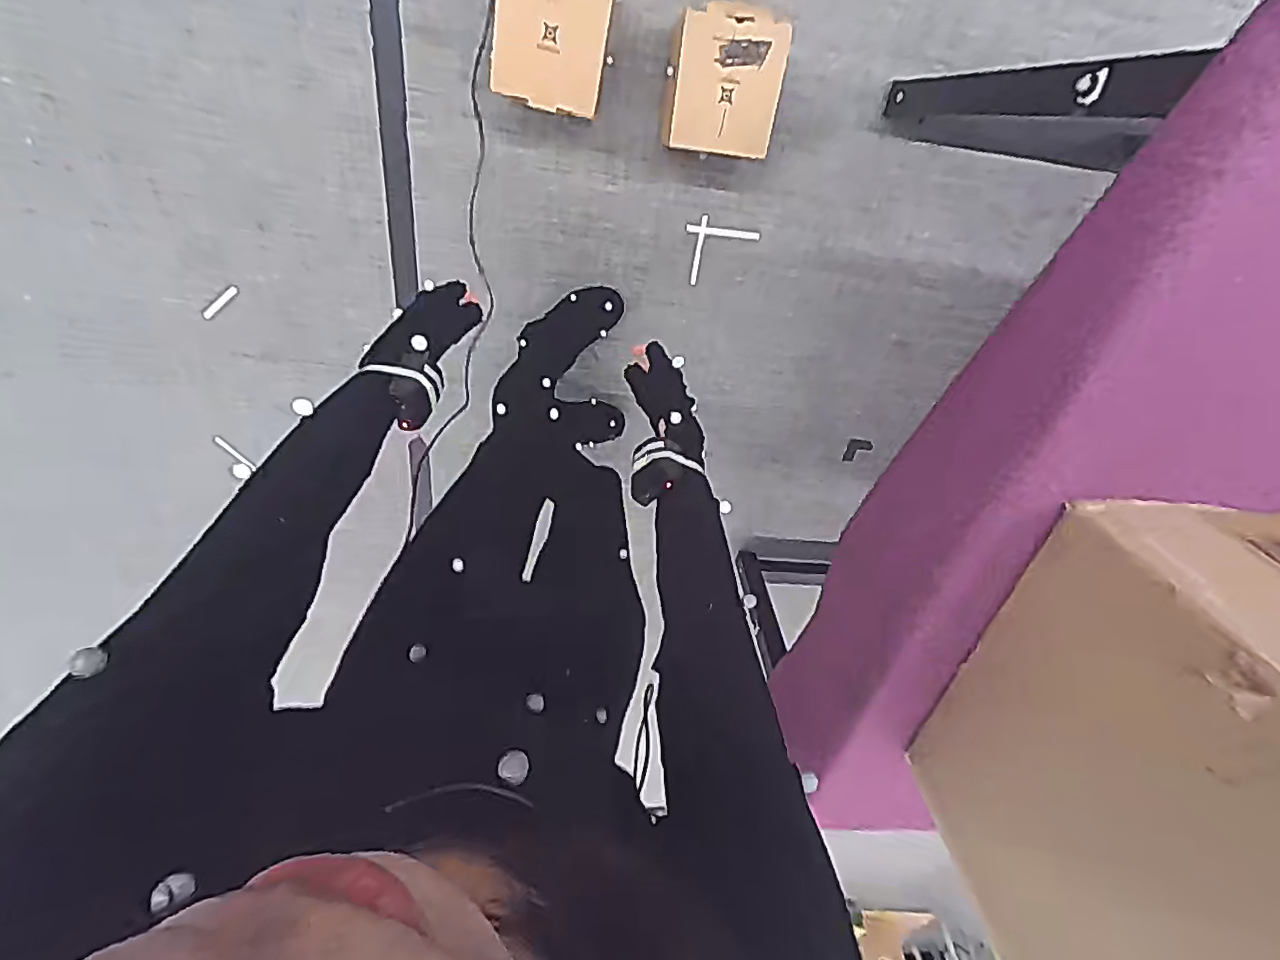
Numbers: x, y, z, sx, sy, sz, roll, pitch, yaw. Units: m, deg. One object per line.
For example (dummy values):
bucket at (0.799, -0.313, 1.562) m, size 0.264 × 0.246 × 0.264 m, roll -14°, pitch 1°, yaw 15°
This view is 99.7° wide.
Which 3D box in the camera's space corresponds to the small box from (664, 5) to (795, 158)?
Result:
small box at (0.135, -0.654, 0.902) m, size 0.168 × 0.176 × 0.179 m, roll 4°, pitch 124°, yaw -6°

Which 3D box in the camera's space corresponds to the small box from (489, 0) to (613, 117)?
small box at (-0.136, -0.700, 0.860) m, size 0.168 × 0.176 × 0.179 m, roll 9°, pitch 122°, yaw -10°
